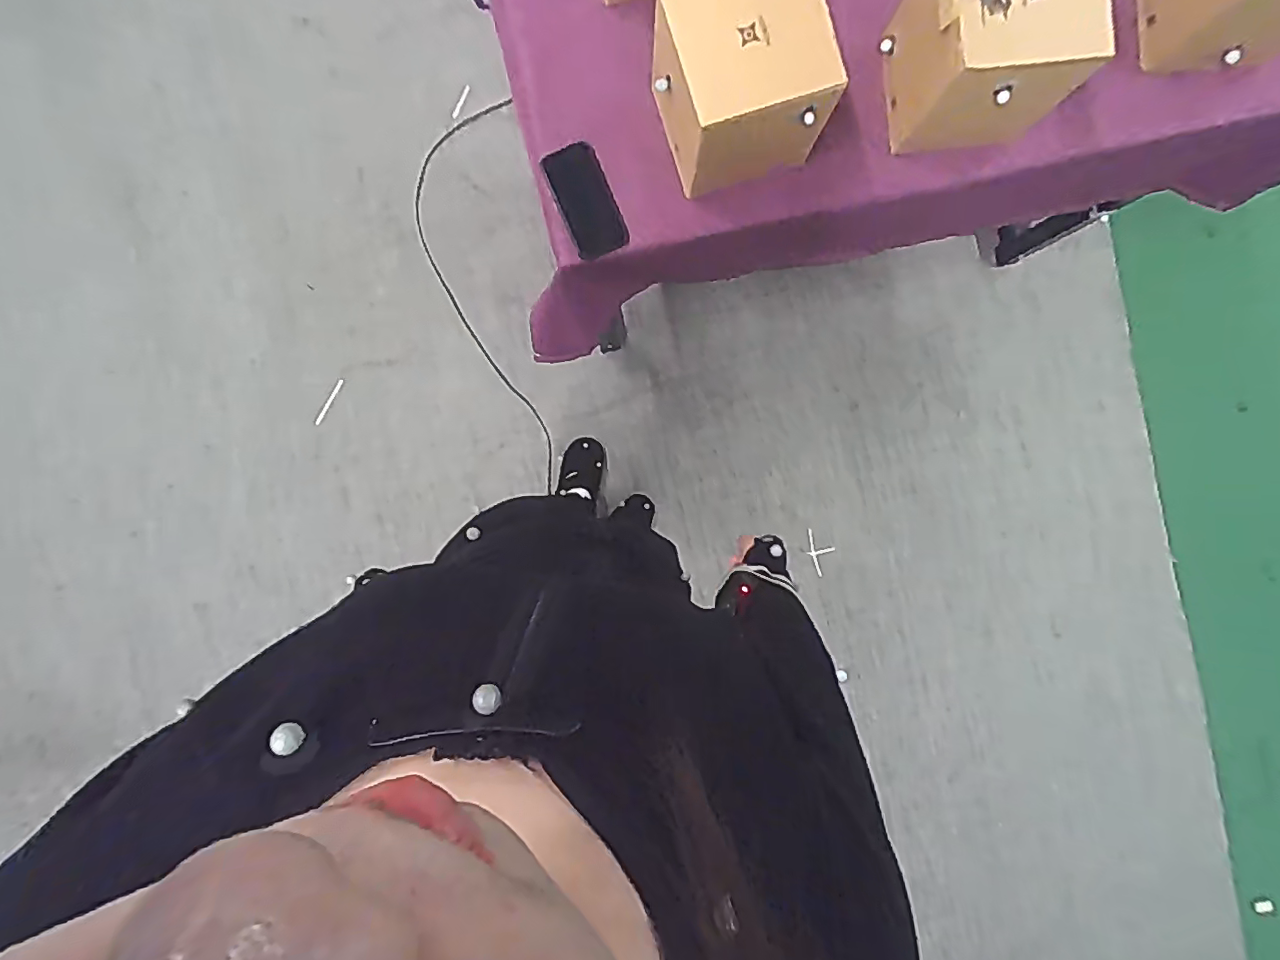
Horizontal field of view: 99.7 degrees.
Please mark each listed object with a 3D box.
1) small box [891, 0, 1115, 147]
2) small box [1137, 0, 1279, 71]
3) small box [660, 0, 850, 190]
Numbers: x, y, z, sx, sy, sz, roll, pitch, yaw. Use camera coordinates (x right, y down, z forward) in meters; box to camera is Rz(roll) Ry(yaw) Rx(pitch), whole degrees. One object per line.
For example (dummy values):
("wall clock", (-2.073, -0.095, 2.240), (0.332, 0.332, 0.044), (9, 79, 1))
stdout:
("small box", (0.437, -0.550, 0.682), (0.179, 0.176, 0.168), (-6, 93, -2))
("small box", (0.791, -0.660, 0.685), (0.179, 0.176, 0.168), (-5, 92, -1))
("small box", (0.128, -0.499, 0.678), (0.179, 0.176, 0.168), (-18, 92, -2))
